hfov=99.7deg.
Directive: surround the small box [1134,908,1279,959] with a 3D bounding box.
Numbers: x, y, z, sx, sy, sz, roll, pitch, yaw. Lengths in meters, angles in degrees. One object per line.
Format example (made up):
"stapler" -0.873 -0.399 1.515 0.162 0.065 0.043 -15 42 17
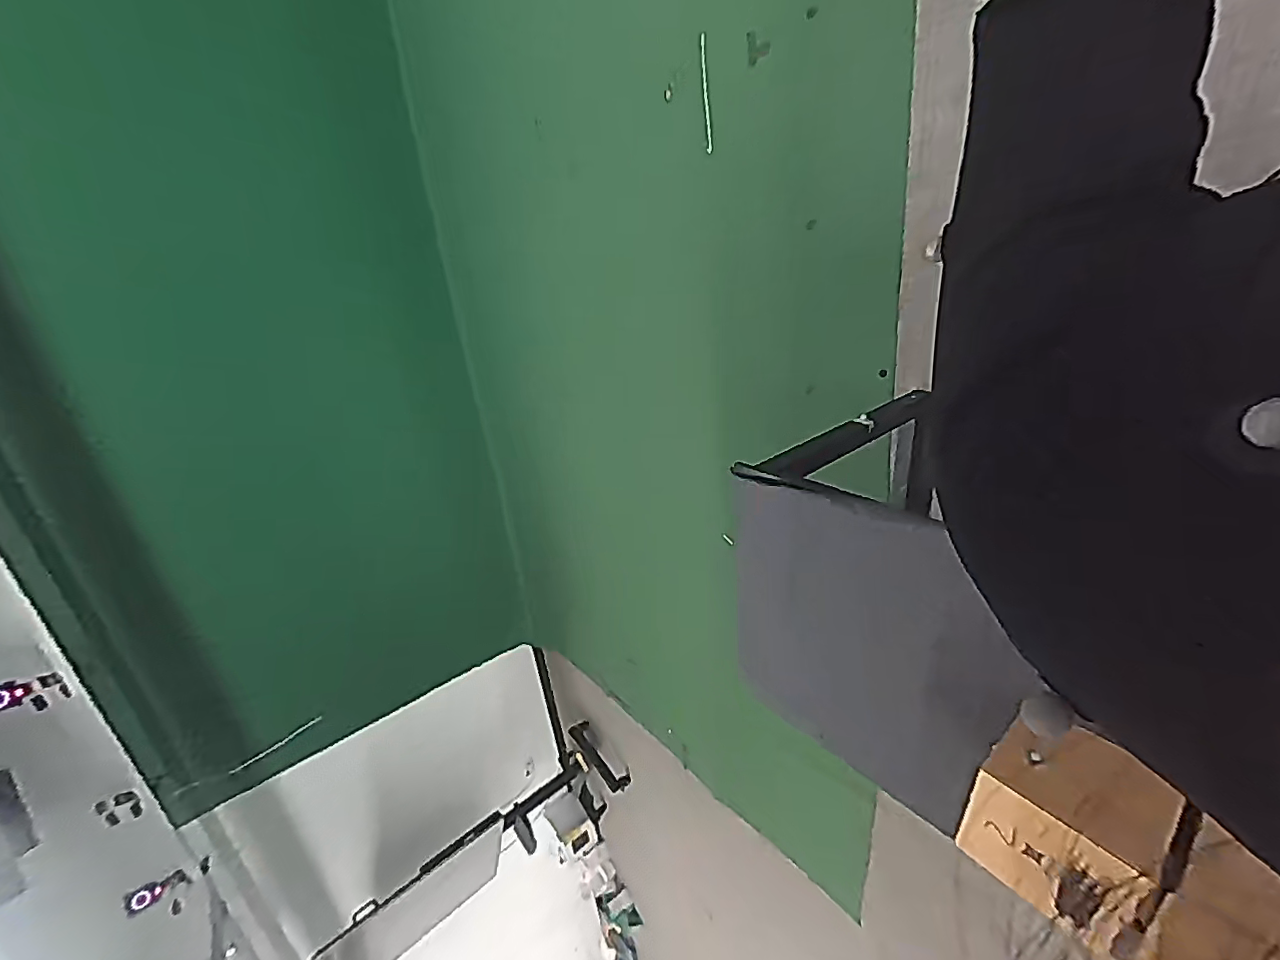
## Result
"small box" 0.548 0.540 0.484 0.179 0.176 0.168 23 126 46
